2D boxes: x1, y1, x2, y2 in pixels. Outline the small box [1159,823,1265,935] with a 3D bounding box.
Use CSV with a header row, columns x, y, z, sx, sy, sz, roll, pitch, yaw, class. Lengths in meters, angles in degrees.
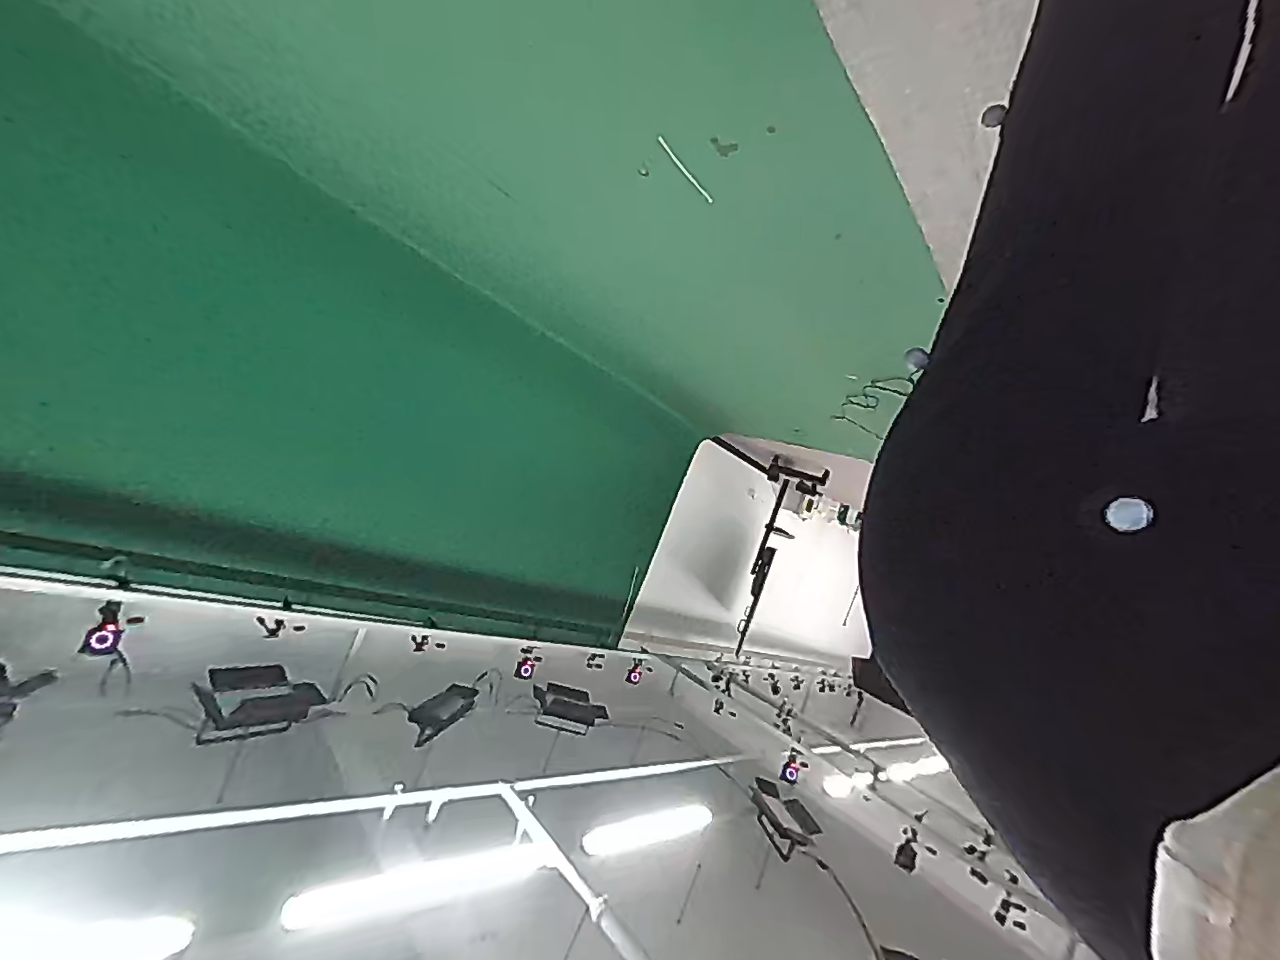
x,y,z,sx,sy,sz,roll,pitch,yaw,class
1.627,1.125,1.541,0.179,0.176,0.168,17,175,44,small box
